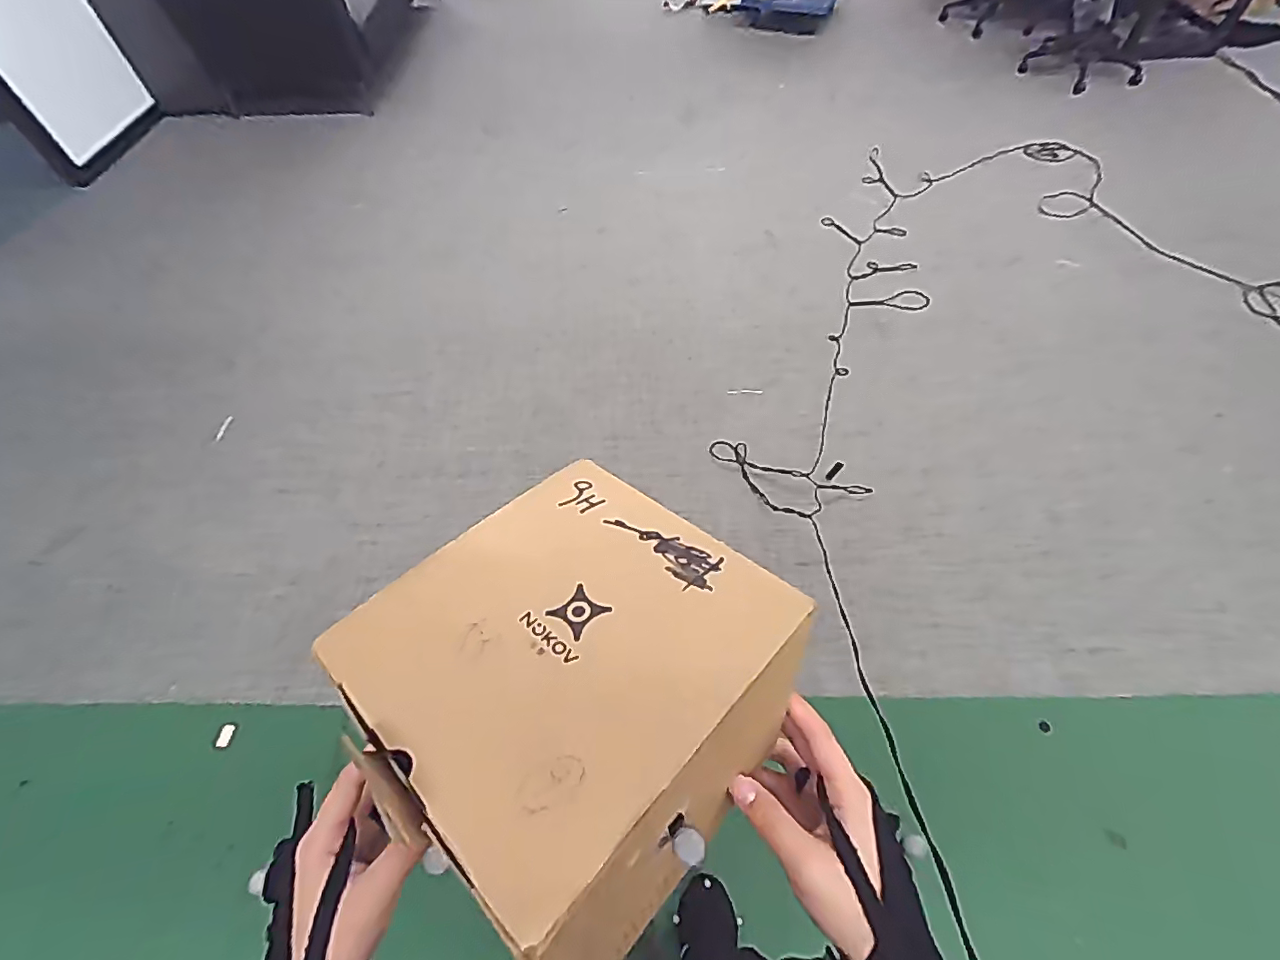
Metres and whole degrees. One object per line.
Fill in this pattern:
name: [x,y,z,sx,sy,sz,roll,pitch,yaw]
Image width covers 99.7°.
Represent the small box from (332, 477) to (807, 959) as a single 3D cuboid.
small box: [-0.028,0.136,0.314,0.168,0.176,0.179,31,53,32]
